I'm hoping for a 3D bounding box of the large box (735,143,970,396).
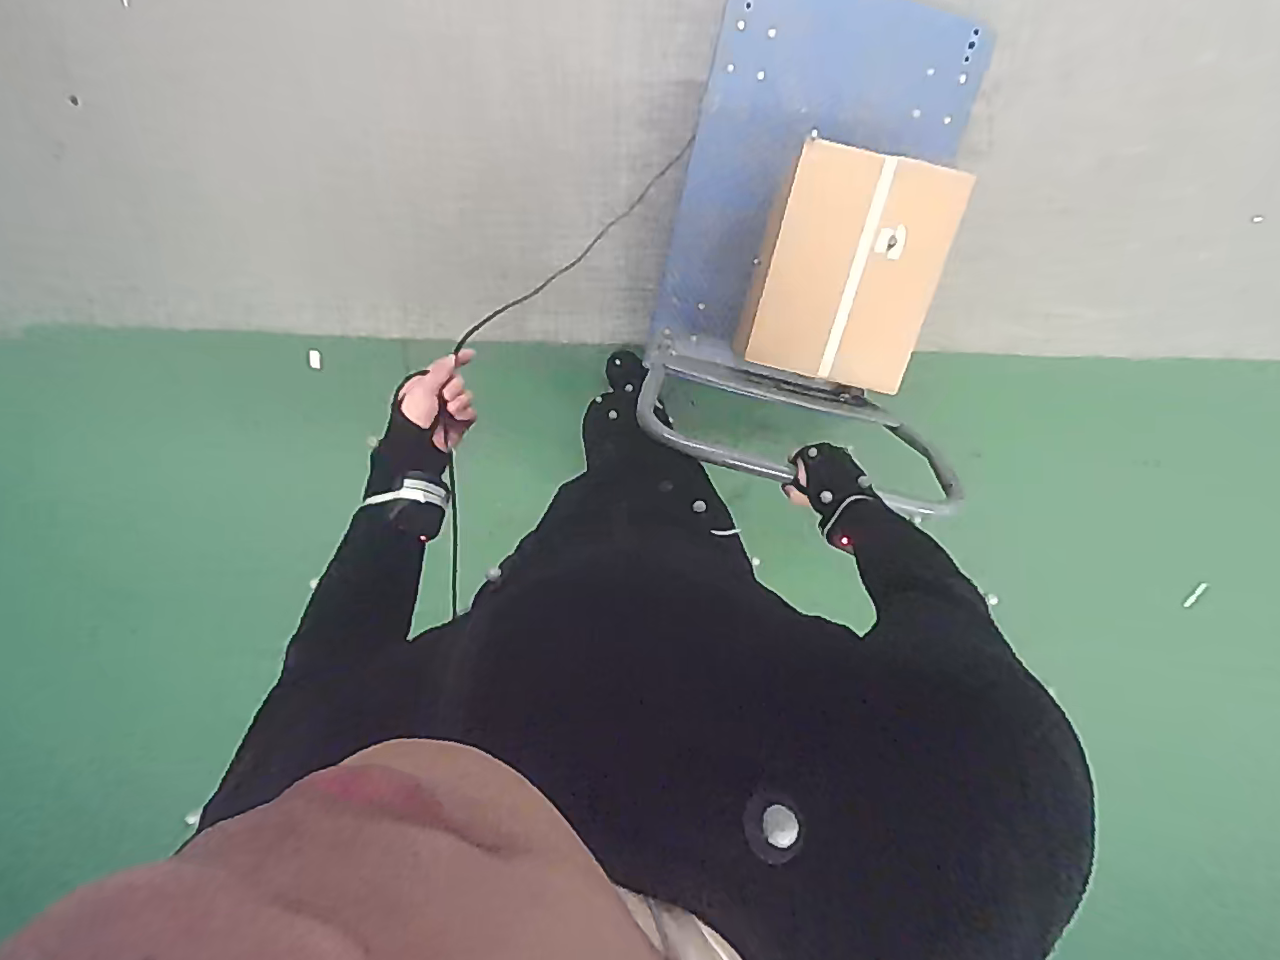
[{"bbox_3d":[0.412,-0.423,1.164,0.320,0.320,0.408,14,106,0],"label":"large box"}]
